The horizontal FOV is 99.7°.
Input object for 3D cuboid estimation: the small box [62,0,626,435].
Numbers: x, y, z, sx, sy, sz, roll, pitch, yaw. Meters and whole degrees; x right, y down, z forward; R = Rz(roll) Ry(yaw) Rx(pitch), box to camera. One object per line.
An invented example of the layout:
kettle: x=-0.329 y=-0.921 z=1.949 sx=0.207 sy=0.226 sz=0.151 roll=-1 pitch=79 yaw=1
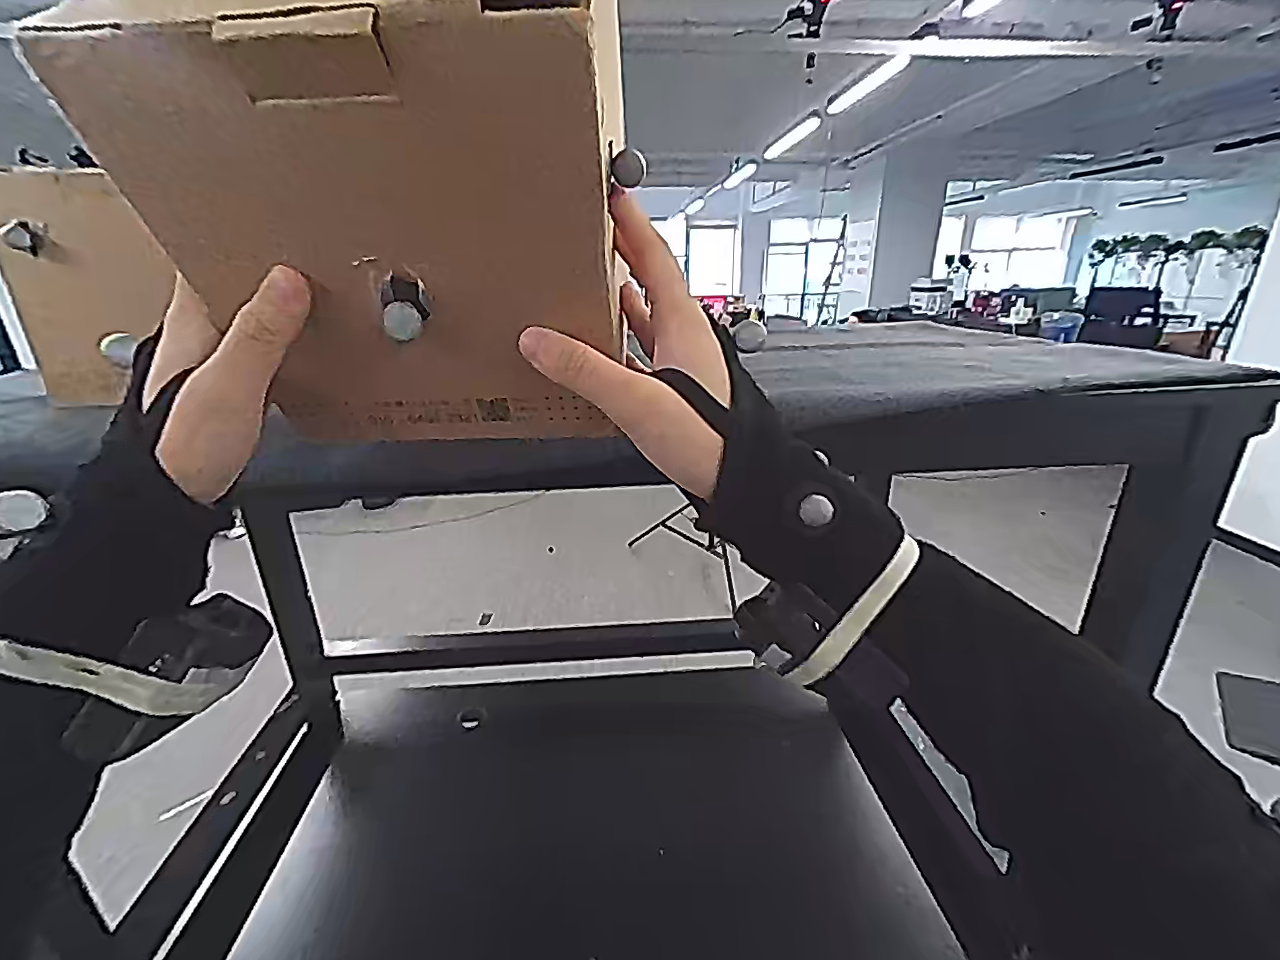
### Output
small box: x=-0.092 y=-0.136 z=0.275 sx=0.168 sy=0.176 sz=0.179 roll=-1 pitch=50 yaw=0
